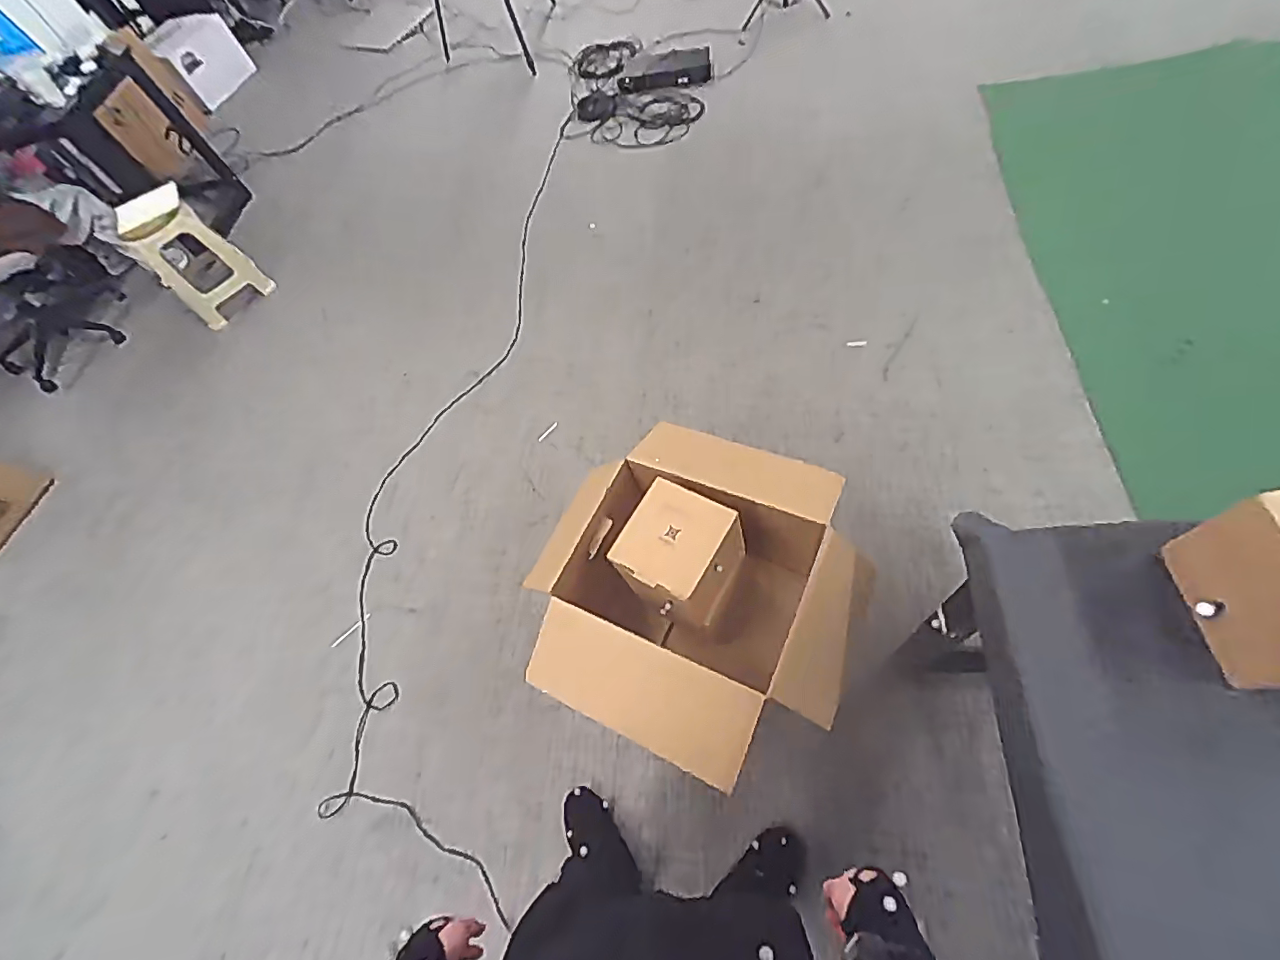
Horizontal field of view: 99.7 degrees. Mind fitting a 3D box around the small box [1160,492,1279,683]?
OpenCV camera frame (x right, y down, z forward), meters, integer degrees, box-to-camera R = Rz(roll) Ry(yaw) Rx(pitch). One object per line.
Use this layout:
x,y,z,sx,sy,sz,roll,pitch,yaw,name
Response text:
0.734,0.117,0.578,0.168,0.176,0.179,-7,62,8,small box
